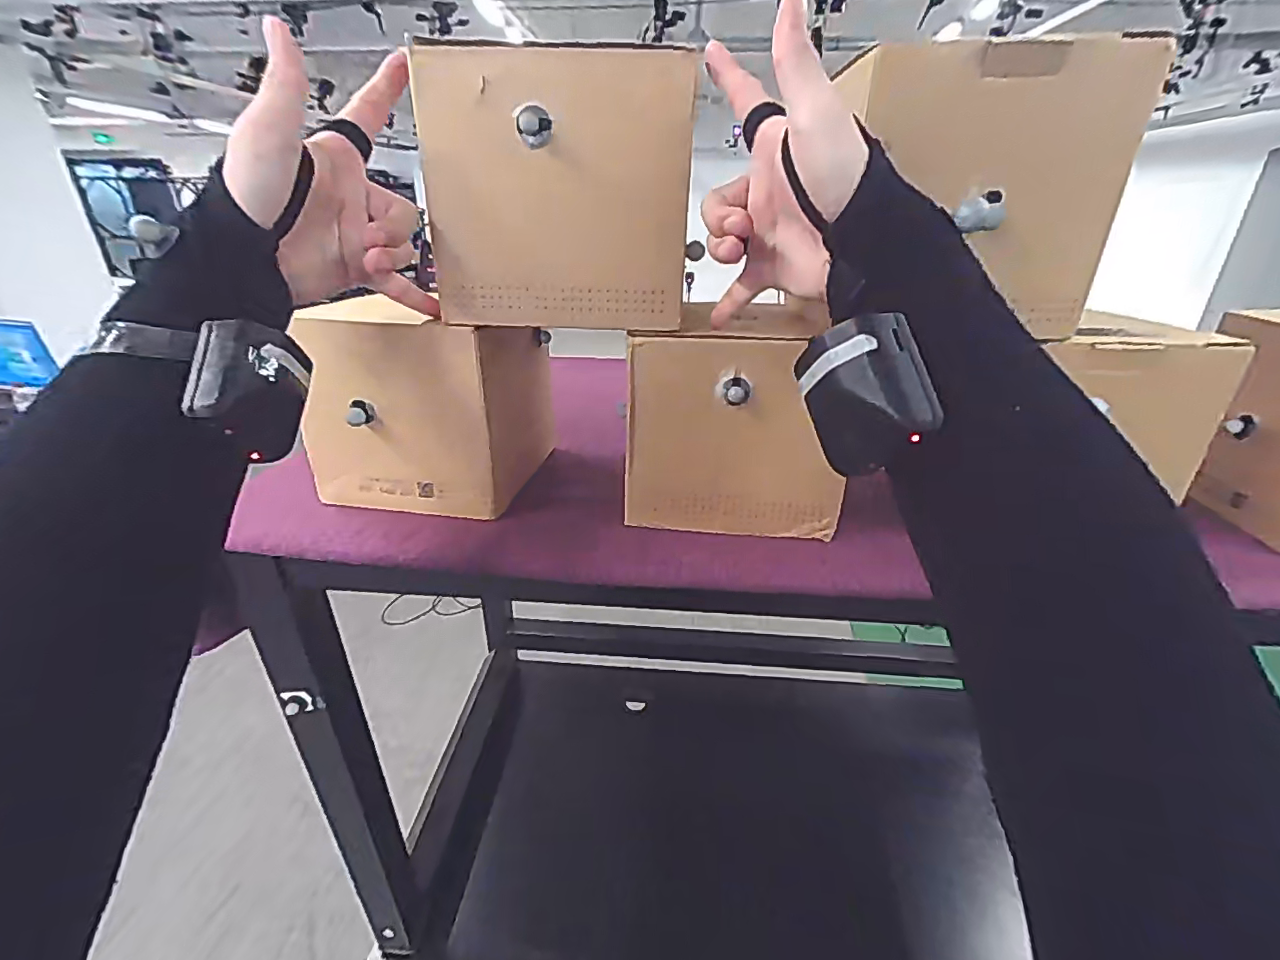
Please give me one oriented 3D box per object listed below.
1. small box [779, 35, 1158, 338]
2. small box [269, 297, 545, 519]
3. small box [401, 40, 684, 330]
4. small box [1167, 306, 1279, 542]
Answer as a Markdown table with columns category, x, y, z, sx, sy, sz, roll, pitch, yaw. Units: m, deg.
| category | x | y | z | sx | sy | sz | roll | pitch | yaw |
| --- | --- | --- | --- | --- | --- | --- | --- | --- | --- |
| small box | 0.210 | -0.208 | 0.410 | 0.168 | 0.176 | 0.179 | 2 | 26 | 1 |
| small box | -0.193 | -0.076 | 0.512 | 0.168 | 0.176 | 0.179 | 4 | 25 | 7 |
| small box | -0.056 | -0.215 | 0.427 | 0.179 | 0.176 | 0.168 | 2 | 26 | 2 |
| small box | 0.604 | -0.045 | 0.452 | 0.179 | 0.176 | 0.168 | 3 | 27 | 8 |
